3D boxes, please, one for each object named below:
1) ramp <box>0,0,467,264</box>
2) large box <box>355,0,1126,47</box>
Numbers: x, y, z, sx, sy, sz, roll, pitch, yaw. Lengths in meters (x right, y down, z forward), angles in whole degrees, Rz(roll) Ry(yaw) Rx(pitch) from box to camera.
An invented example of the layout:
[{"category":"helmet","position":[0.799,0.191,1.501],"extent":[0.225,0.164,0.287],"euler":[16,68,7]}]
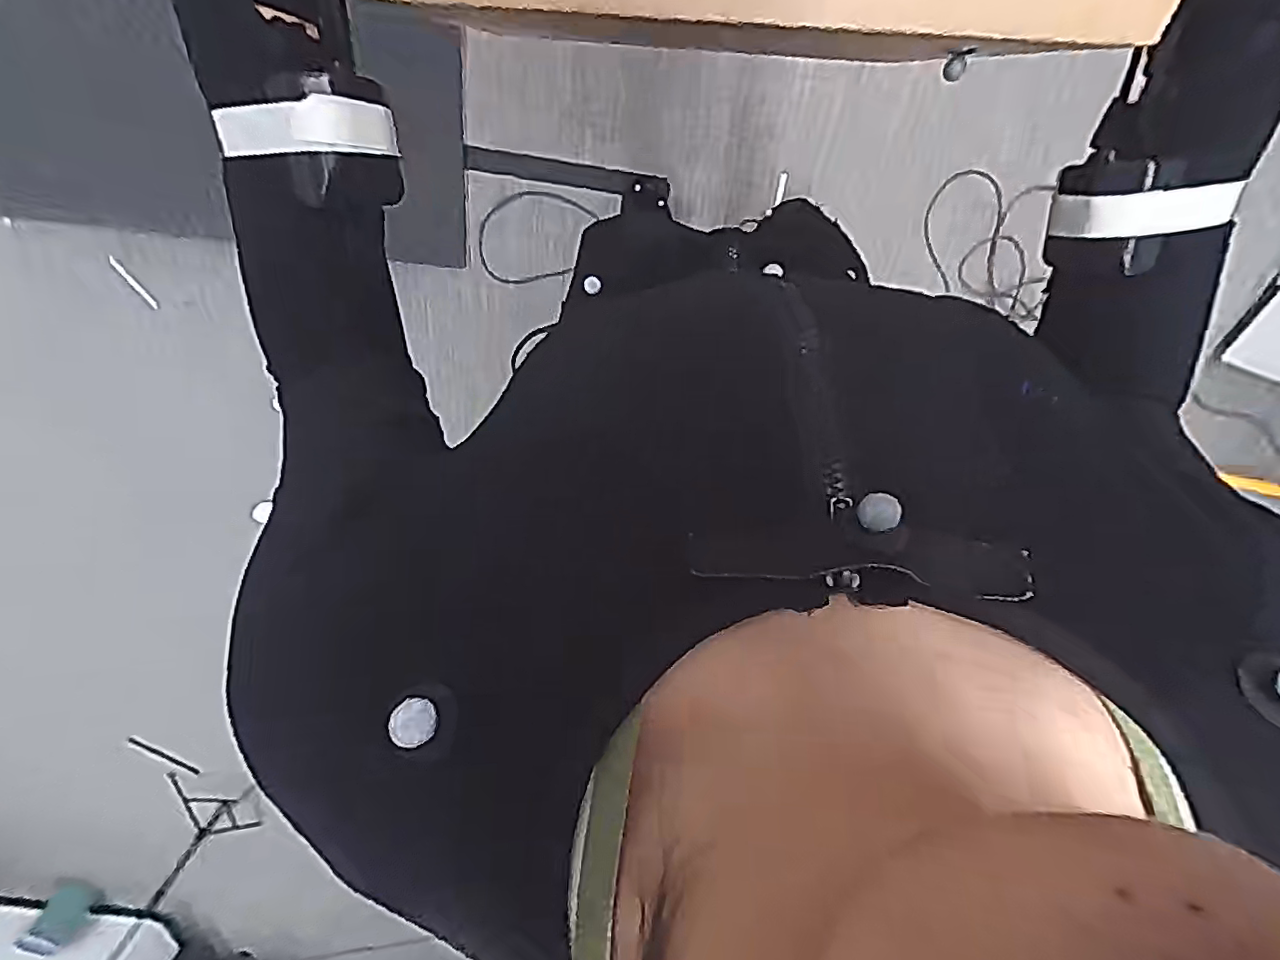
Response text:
[{"category":"ramp","position":[-0.889,-0.766,1.135],"extent":[0.991,0.206,0.509],"euler":[6,120,-1]},{"category":"large box","position":[0.055,-0.448,0.308],"extent":[0.408,0.320,0.320],"euler":[1,126,-1]}]
